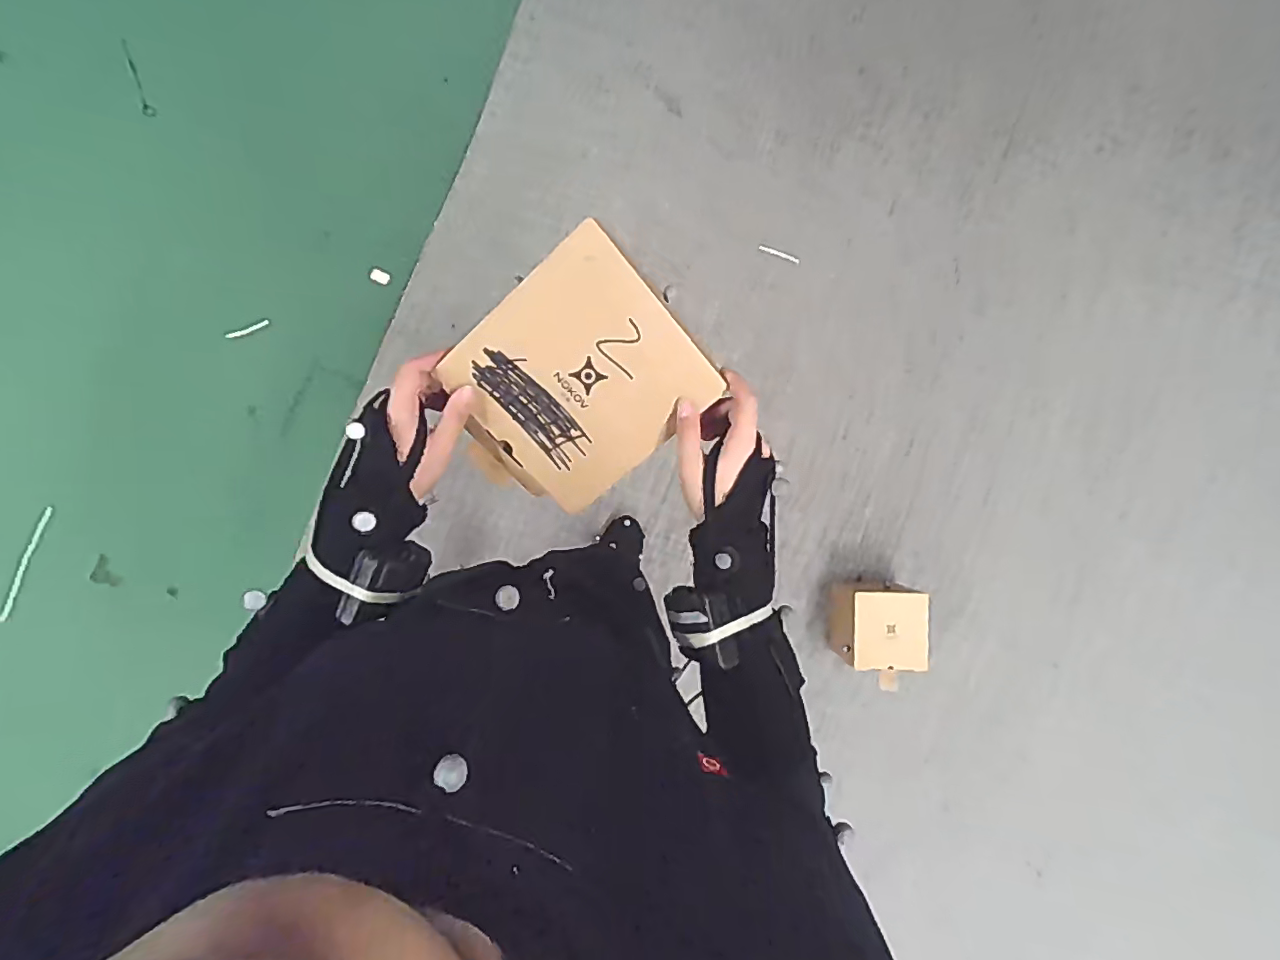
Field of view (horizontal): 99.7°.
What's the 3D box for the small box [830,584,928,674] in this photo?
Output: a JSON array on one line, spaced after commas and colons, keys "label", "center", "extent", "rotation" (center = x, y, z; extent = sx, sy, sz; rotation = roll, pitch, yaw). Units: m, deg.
[{"label": "small box", "center": [0.559, 0.345, 1.282], "extent": [0.168, 0.176, 0.179], "rotation": [1, 89, 1]}]
